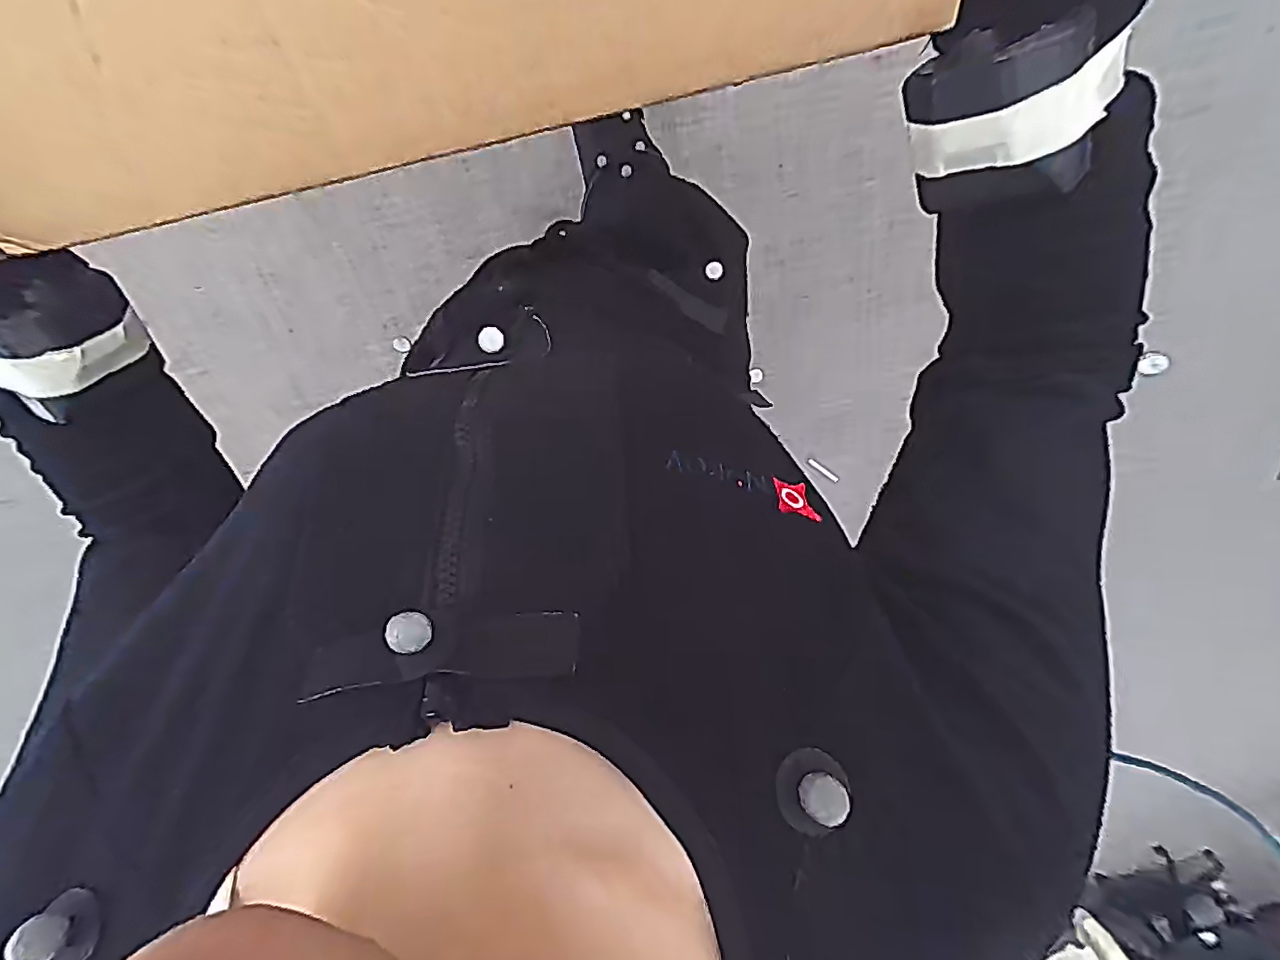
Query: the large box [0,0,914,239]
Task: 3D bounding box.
[{"bbox_3d":[-0.121,-0.353,0.206,0.408,0.320,0.320,-10,140,5],"label":"large box"}]
